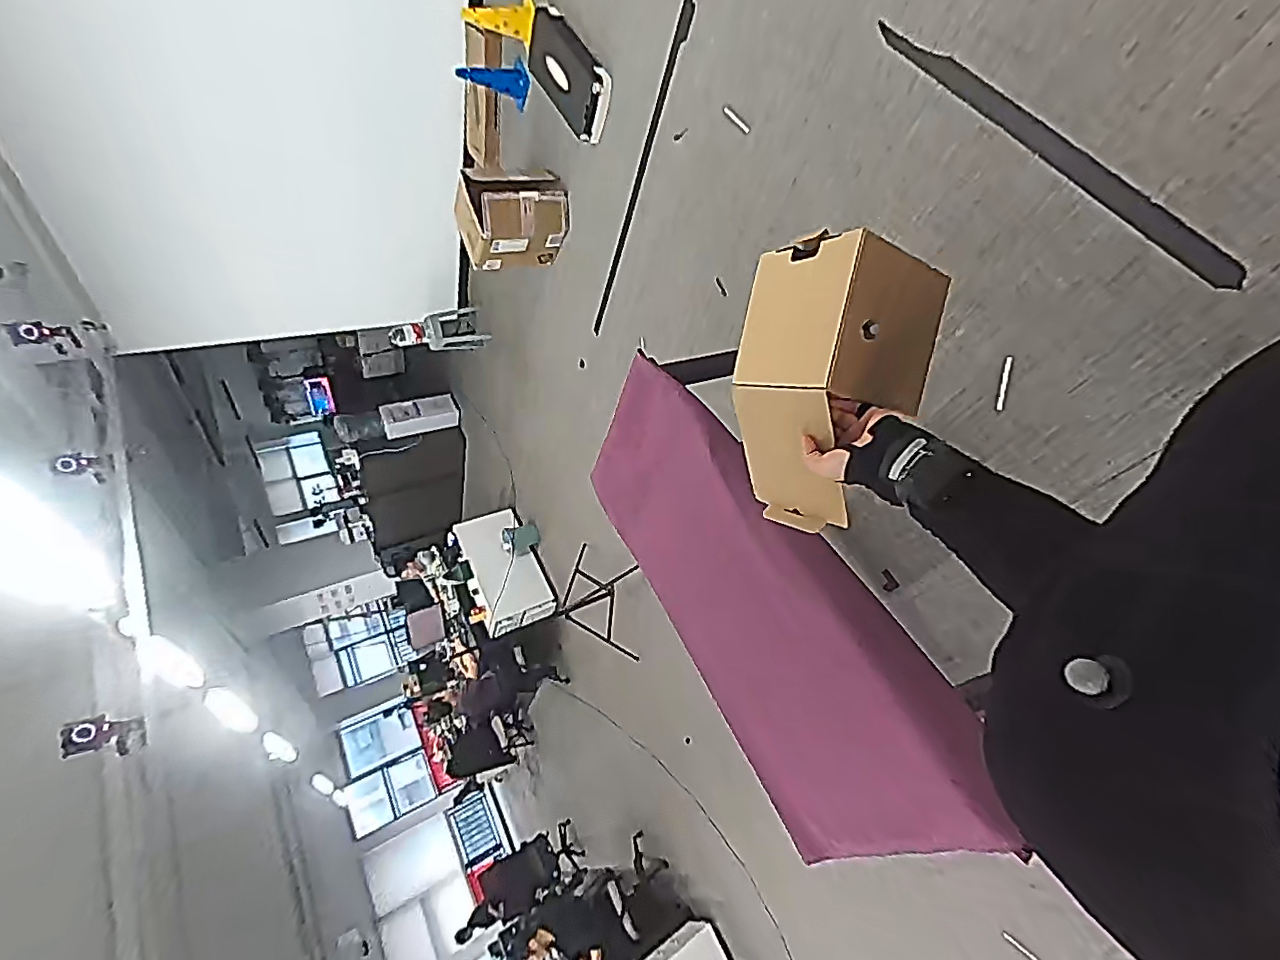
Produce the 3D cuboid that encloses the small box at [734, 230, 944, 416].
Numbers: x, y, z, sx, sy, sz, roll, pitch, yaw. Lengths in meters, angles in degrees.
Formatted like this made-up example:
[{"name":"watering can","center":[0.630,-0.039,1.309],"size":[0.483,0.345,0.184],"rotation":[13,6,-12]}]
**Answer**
[{"name":"small box","center":[0.249,-0.183,0.684],"size":[0.168,0.176,0.179],"rotation":[20,99,59]}]
